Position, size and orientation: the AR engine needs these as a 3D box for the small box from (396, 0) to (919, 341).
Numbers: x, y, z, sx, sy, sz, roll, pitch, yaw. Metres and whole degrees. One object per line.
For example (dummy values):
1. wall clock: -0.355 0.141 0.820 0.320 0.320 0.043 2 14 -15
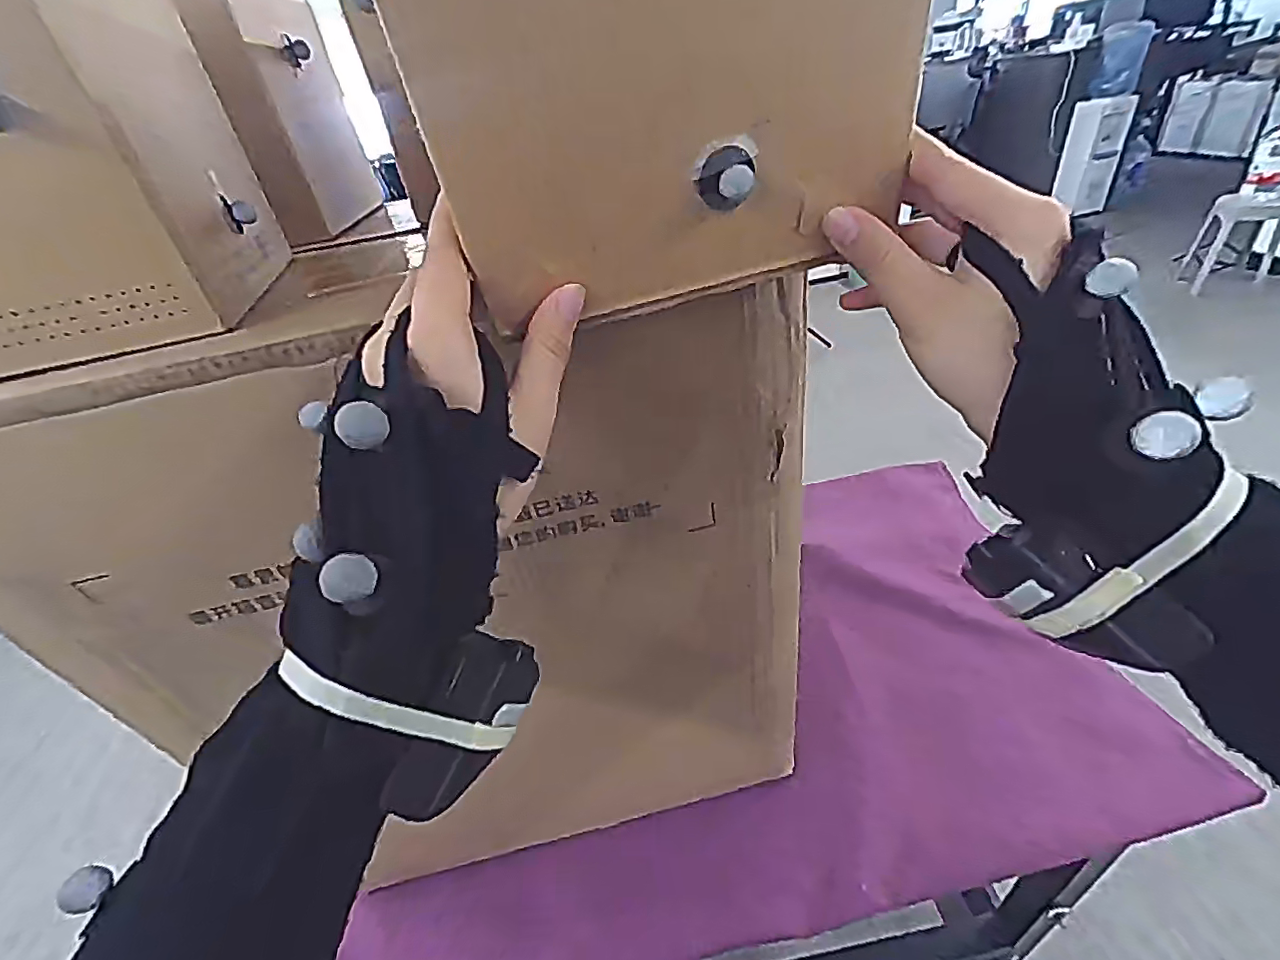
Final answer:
1. small box: -0.001 -0.190 0.231 0.179 0.176 0.168 -15 42 -5
